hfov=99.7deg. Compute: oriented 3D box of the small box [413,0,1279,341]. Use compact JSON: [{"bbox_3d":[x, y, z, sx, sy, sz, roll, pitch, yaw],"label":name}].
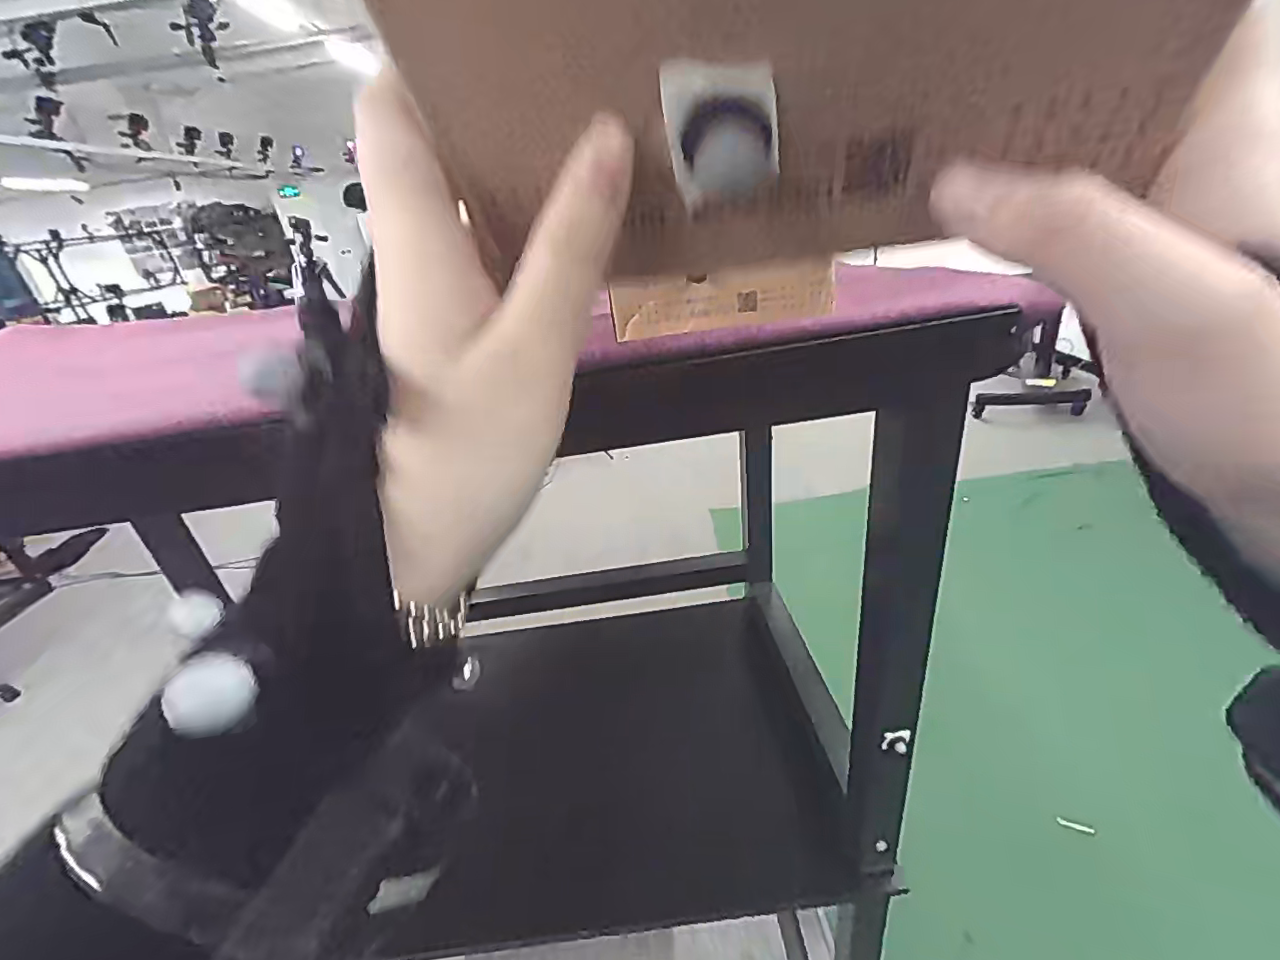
[{"bbox_3d":[0.037,-0.160,0.128,0.168,0.176,0.179,-4,59,13],"label":"small box"}]
